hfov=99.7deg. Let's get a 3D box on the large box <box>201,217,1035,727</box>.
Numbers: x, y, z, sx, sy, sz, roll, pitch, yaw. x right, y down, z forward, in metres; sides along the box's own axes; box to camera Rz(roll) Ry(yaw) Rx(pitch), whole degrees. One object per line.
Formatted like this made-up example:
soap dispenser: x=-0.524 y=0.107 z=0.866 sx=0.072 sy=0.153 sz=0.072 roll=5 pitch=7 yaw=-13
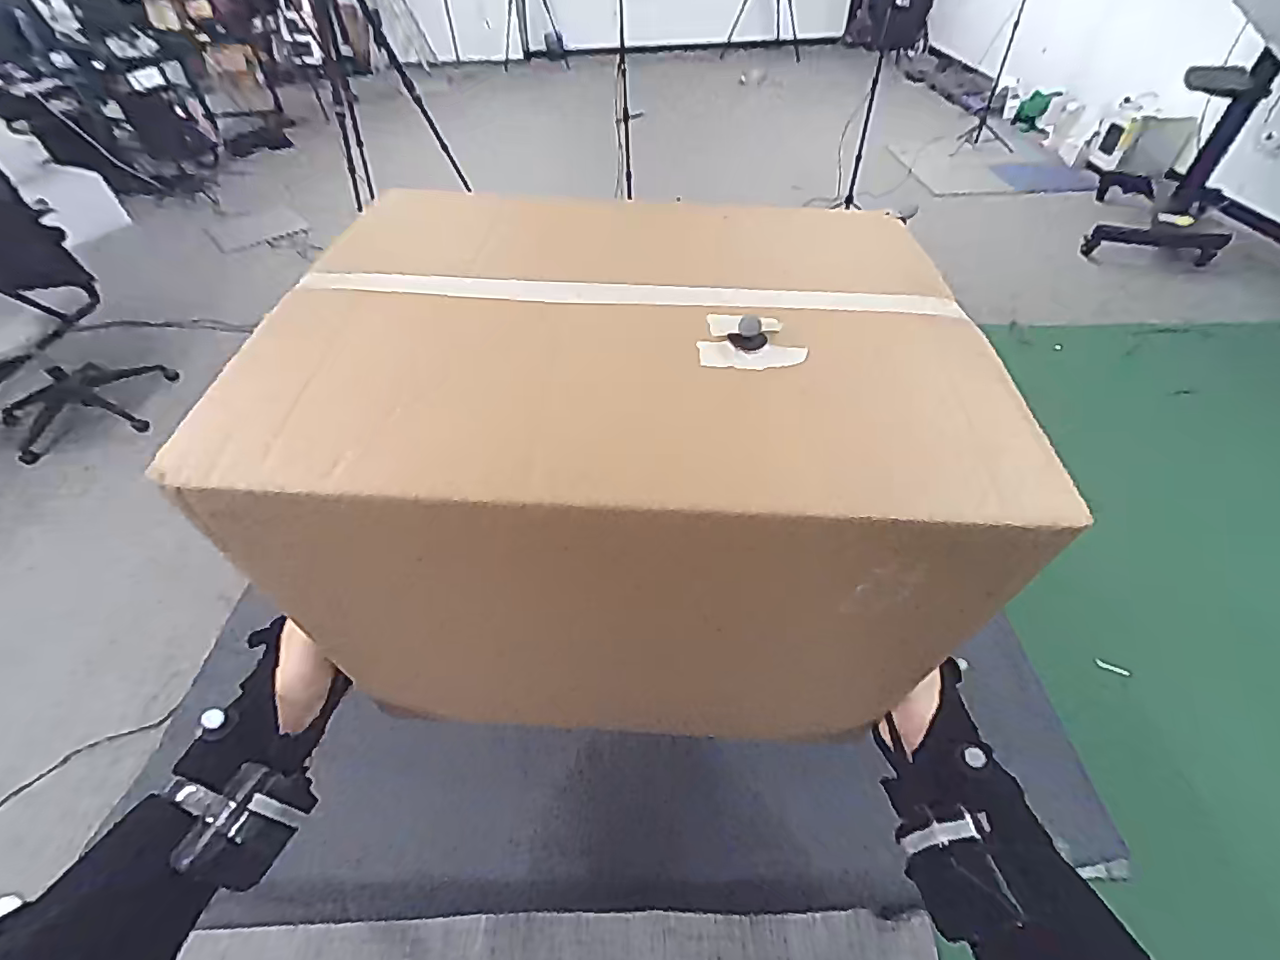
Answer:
large box: x=-0.011 y=0.002 z=0.462 sx=0.408 sy=0.320 sz=0.320 roll=3 pitch=50 yaw=0
